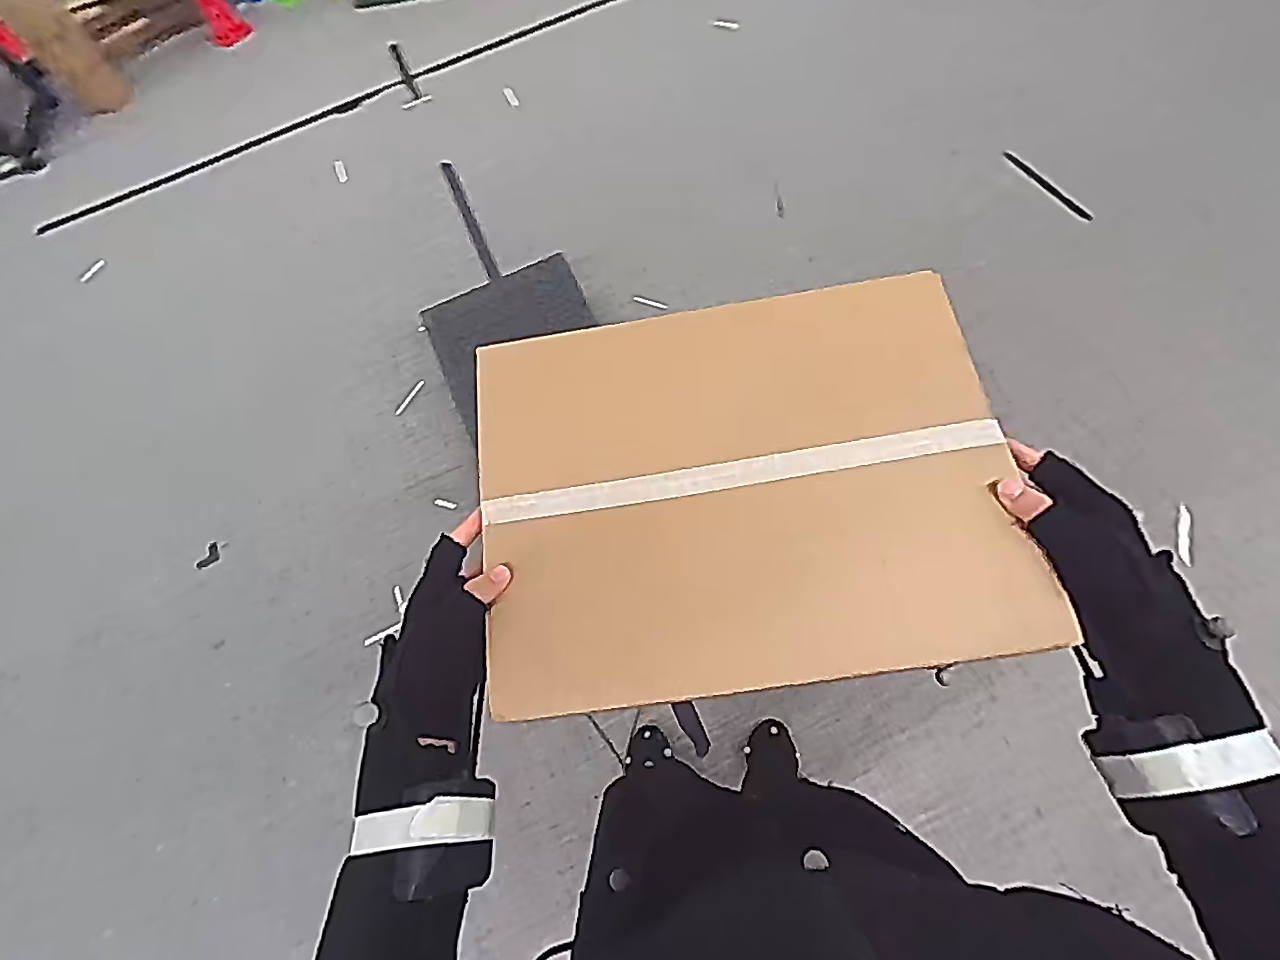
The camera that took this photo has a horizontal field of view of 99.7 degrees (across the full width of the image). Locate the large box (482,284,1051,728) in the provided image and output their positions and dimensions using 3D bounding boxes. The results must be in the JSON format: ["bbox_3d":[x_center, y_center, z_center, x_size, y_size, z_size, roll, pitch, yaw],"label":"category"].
[{"bbox_3d":[0.090,0.050,0.575,0.408,0.320,0.320,-10,70,3],"label":"large box"}]
